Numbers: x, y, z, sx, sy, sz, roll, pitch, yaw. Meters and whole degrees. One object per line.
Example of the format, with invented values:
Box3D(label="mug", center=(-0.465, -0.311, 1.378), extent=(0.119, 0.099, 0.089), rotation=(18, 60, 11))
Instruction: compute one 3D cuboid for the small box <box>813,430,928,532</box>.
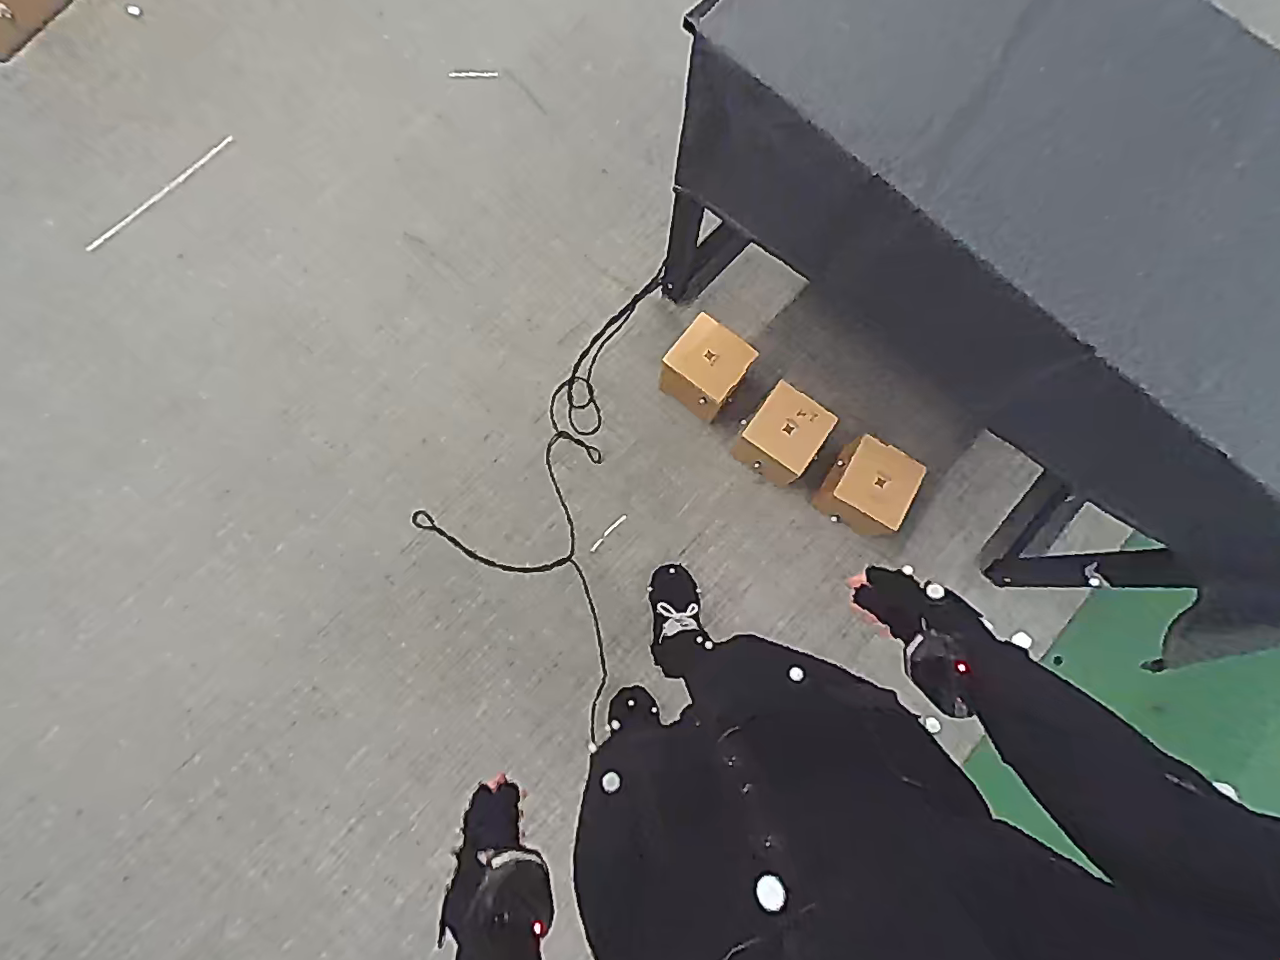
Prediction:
Box3D(label="small box", center=(0.550, 0.009, 1.314), extent=(0.168, 0.176, 0.179), rotation=(31, 80, 3))
